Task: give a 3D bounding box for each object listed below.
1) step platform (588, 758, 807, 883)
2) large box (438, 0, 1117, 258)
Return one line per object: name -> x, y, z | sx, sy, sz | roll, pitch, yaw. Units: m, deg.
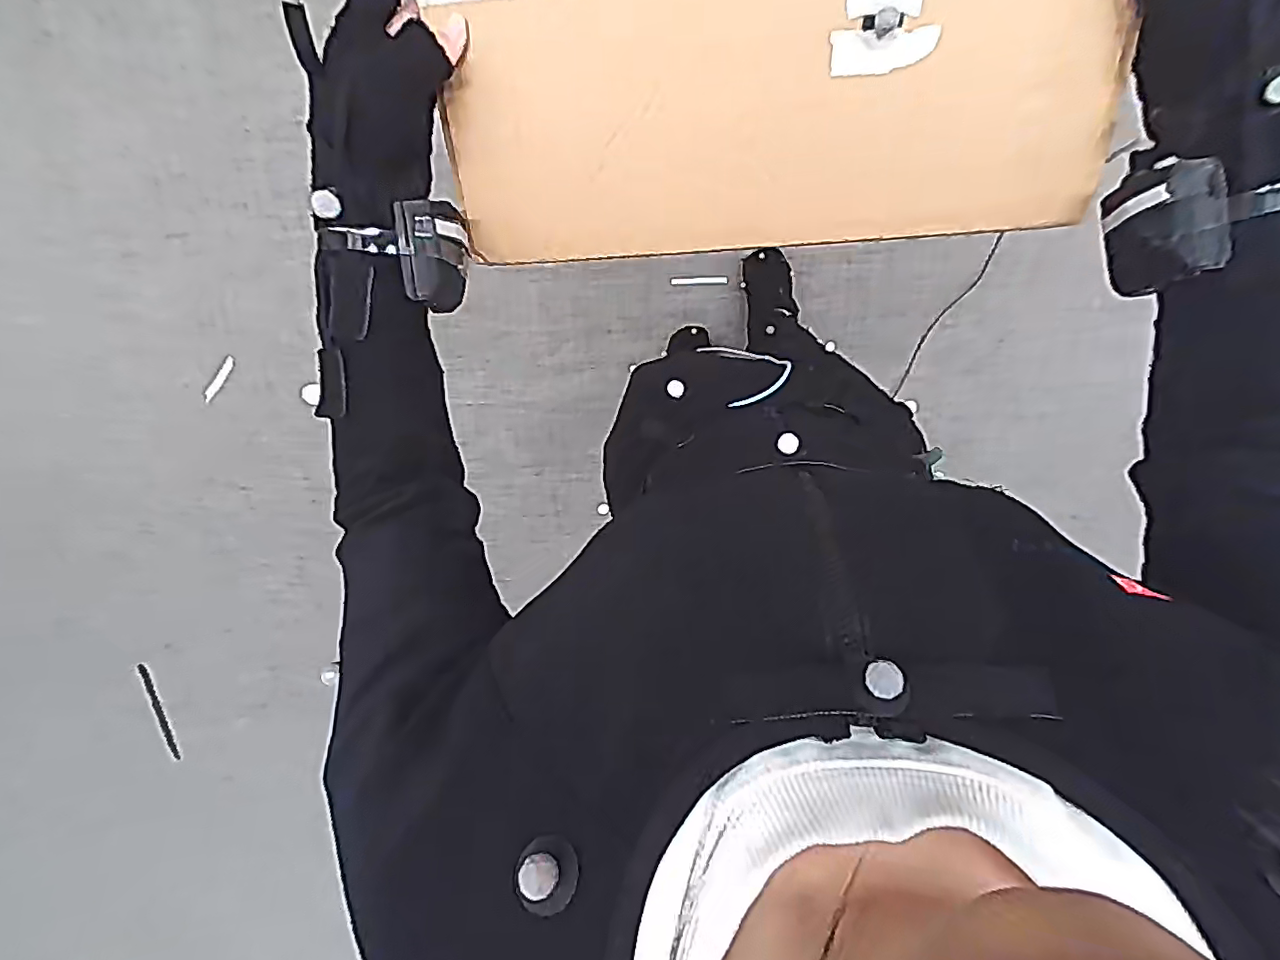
step platform -> 0.176, 1.076, 1.716 | 0.684, 0.204, 0.286 | -1, 107, 7
large box -> 0.082, -0.376, 0.441 | 0.408, 0.320, 0.320 | -2, 117, 7
